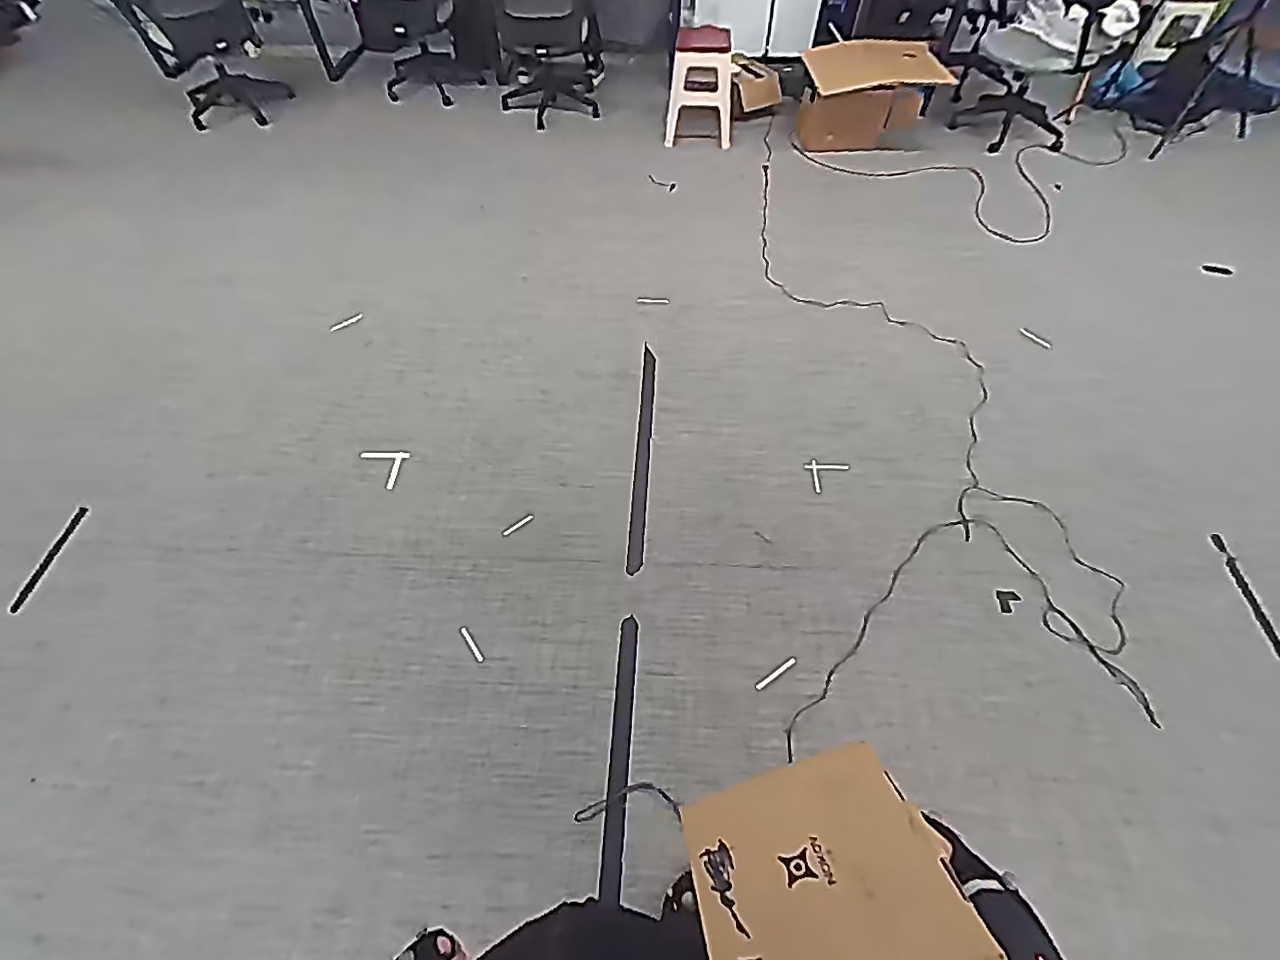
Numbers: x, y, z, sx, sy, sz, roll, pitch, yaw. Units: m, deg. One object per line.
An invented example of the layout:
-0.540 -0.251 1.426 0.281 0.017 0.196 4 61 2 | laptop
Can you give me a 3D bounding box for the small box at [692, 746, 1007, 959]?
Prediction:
0.159 0.360 0.433 0.179 0.176 0.168 -19 19 1 | small box
